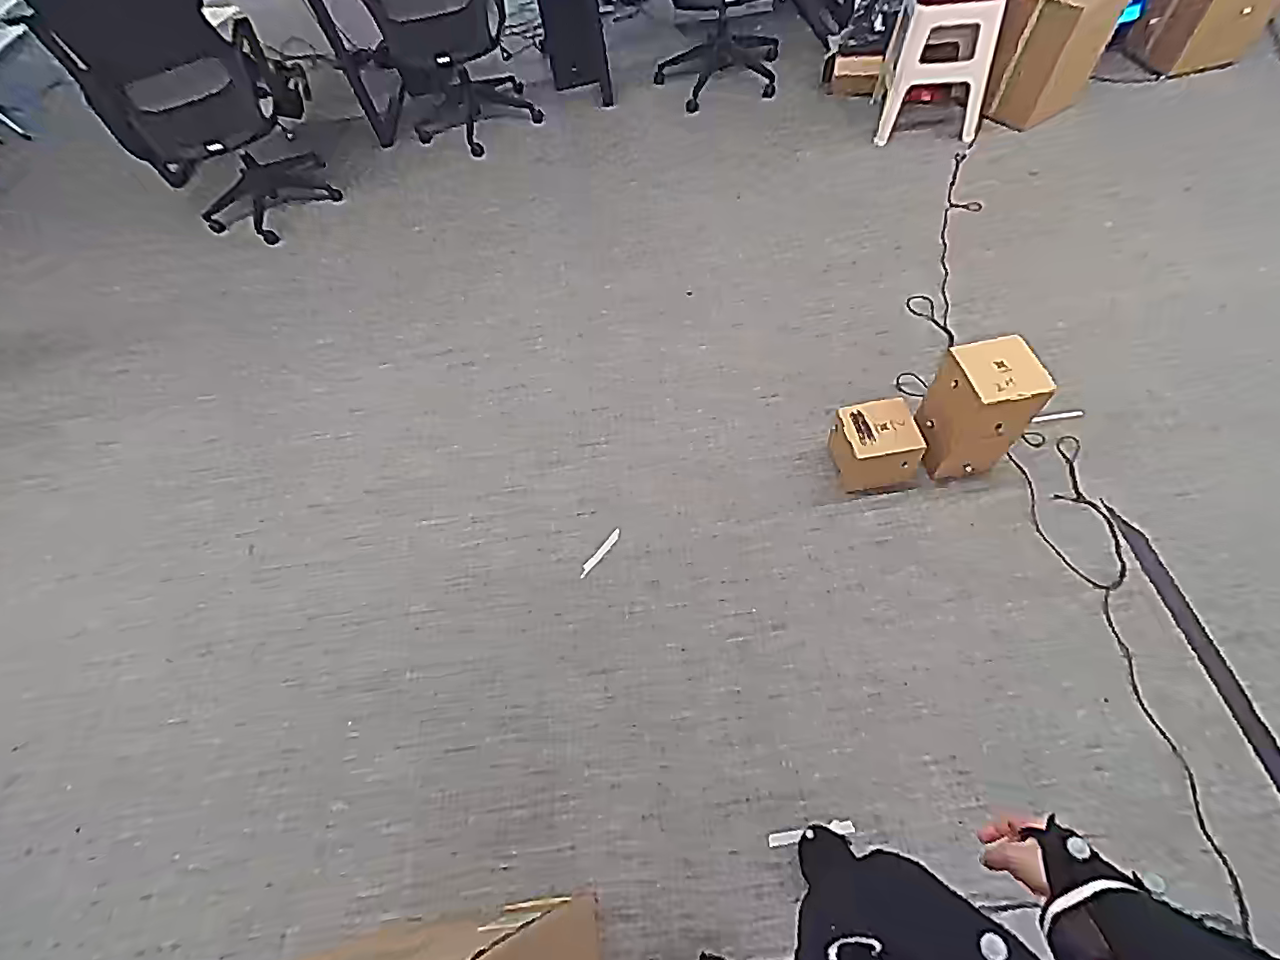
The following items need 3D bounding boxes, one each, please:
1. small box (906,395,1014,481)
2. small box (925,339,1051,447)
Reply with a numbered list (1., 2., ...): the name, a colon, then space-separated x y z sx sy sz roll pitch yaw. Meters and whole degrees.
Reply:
1. small box: 0.837 -0.120 1.436 0.168 0.176 0.179 -9 59 3
2. small box: 0.818 -0.204 1.296 0.168 0.176 0.179 -11 59 2
